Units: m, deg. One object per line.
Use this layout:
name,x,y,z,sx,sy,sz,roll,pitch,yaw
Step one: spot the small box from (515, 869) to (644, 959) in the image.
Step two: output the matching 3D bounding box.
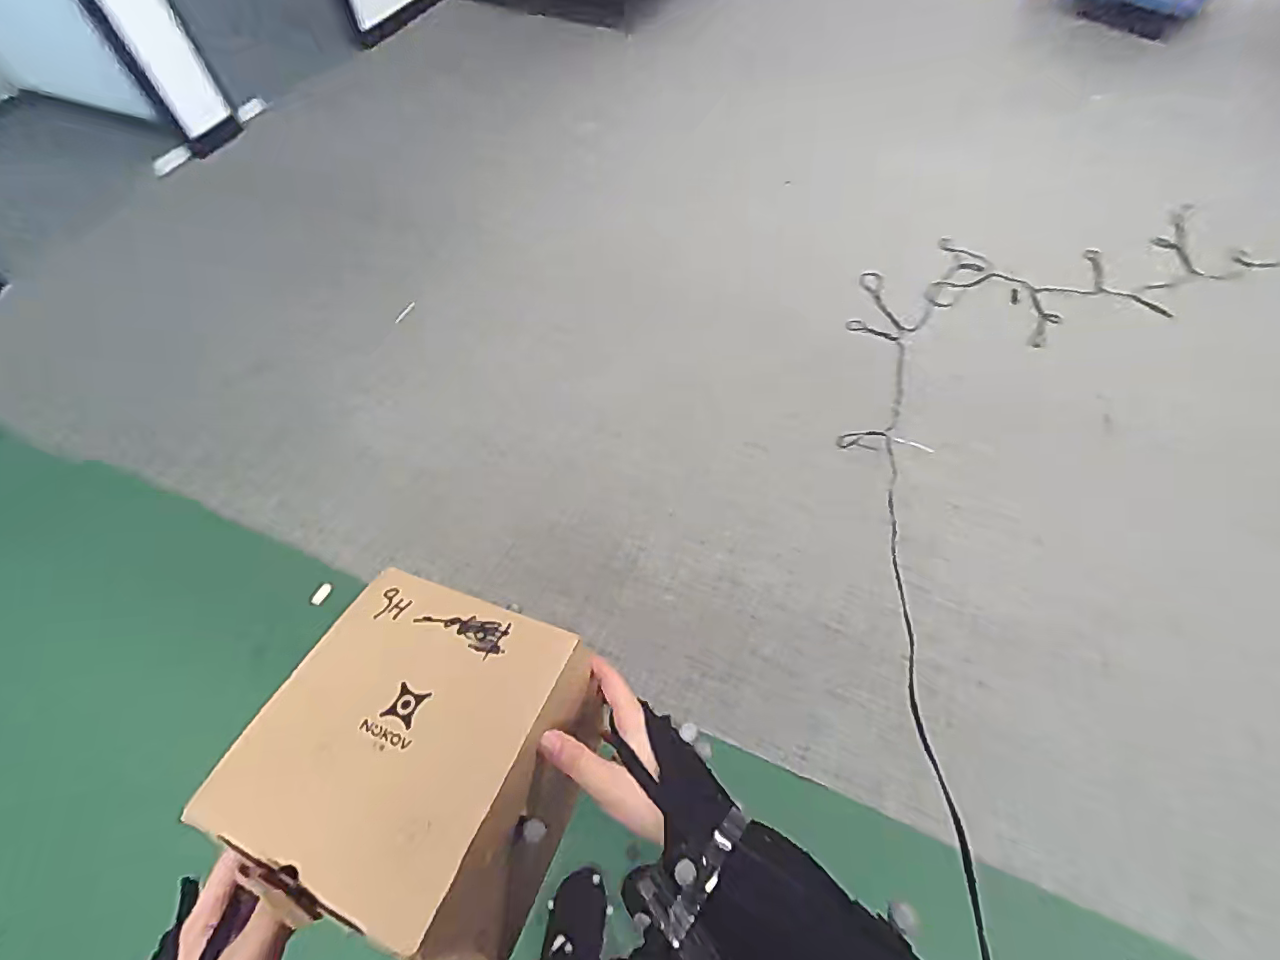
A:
small box,-0.110,0.858,0.988,0.168,0.176,0.179,-35,53,-24
